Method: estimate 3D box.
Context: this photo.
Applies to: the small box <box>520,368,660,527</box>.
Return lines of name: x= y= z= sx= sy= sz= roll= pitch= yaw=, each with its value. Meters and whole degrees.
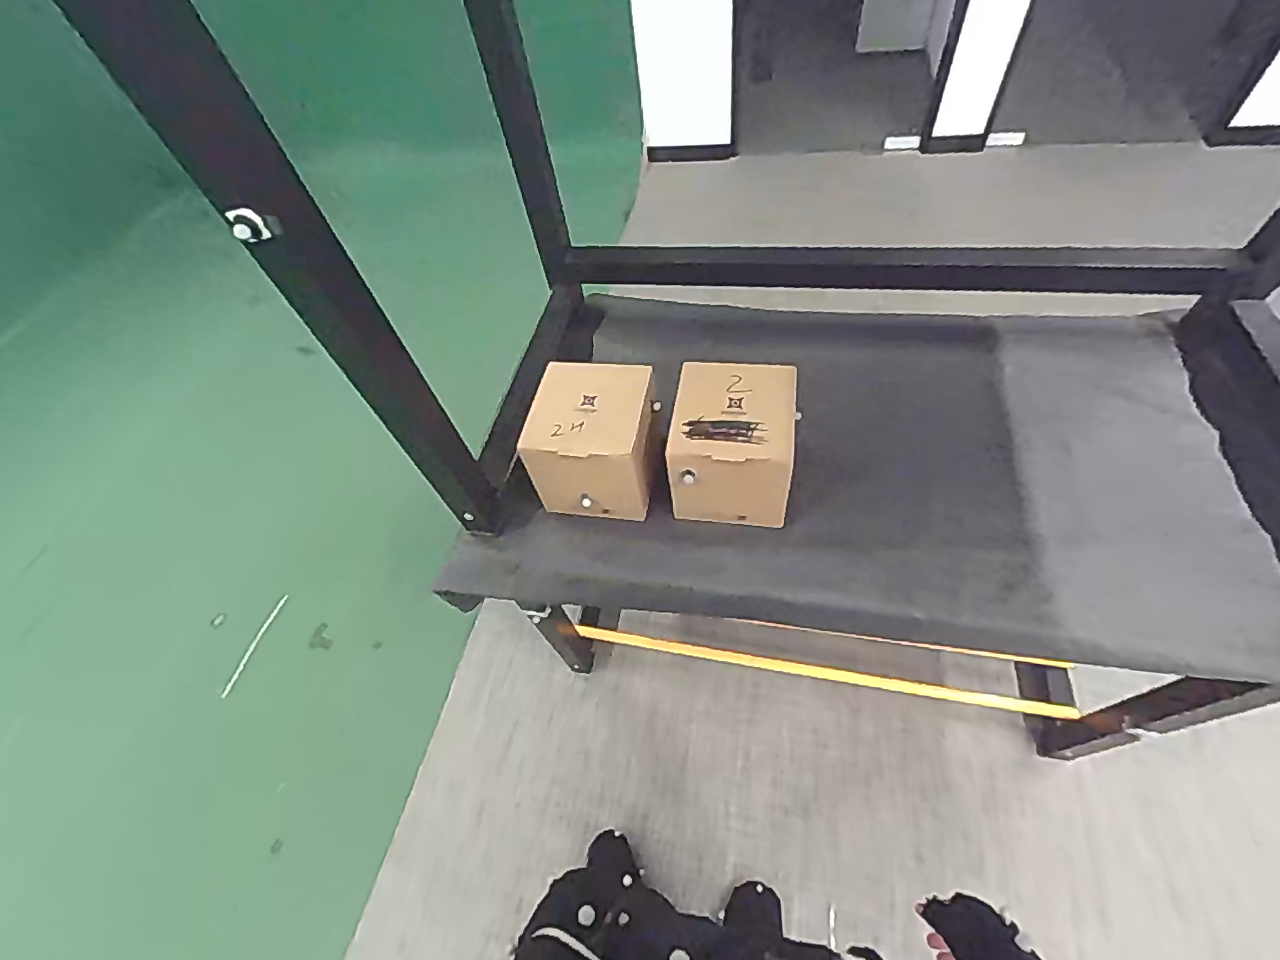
small box: x=-0.065 y=-0.050 z=0.842 sx=0.168 sy=0.176 sz=0.179 roll=4 pitch=55 yaw=11
